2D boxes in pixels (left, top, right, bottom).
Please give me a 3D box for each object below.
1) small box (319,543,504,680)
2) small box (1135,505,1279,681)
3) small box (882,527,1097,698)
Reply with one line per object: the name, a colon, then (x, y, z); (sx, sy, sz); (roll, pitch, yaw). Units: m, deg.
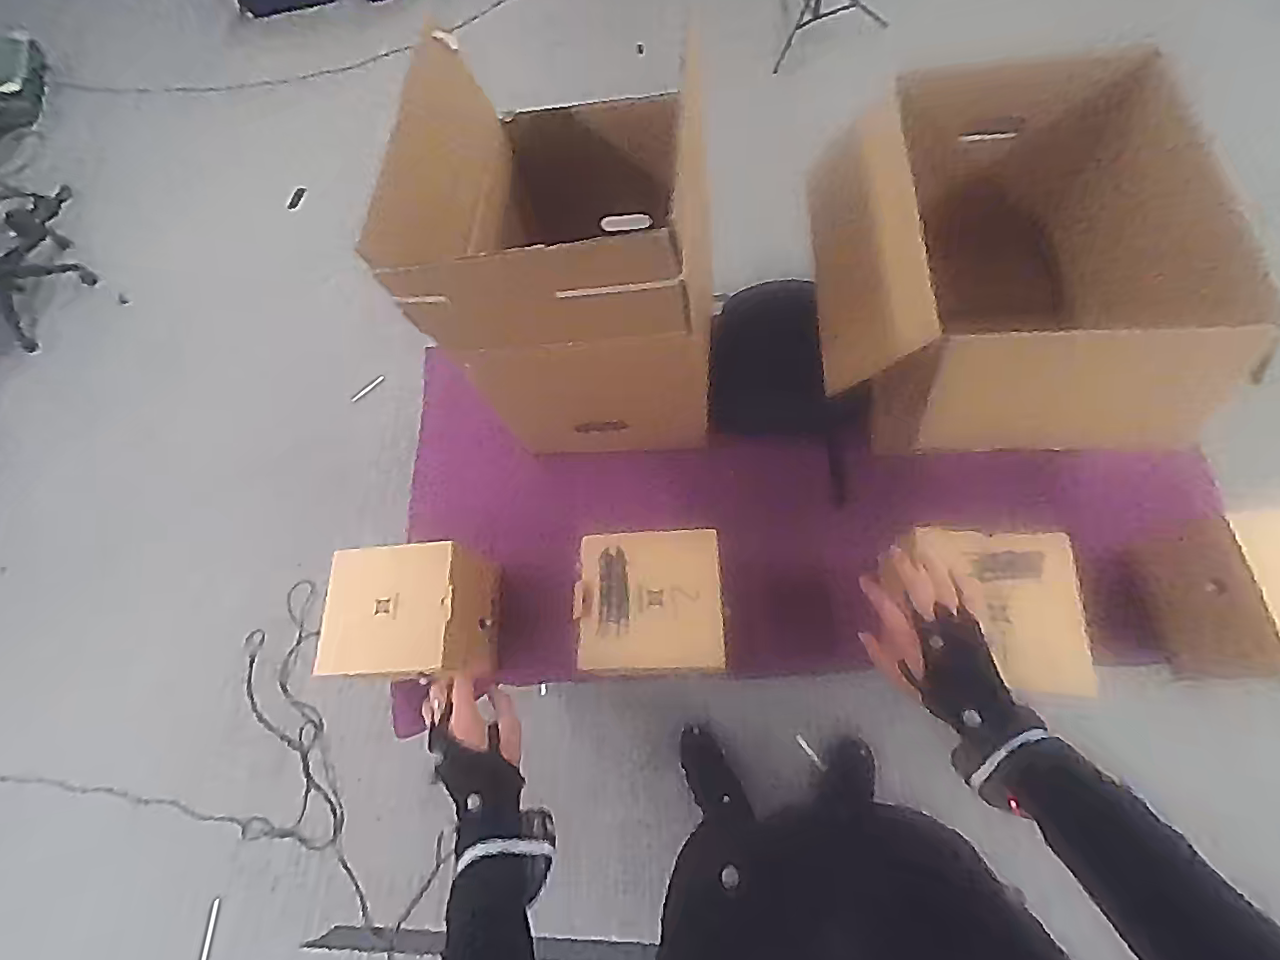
small box: (-0.314, 0.196, 0.779); (0.179, 0.176, 0.168); (-5, 68, 6)
small box: (0.737, 0.135, 0.625); (0.168, 0.176, 0.179); (-5, 68, 9)
small box: (0.409, 0.167, 0.669); (0.168, 0.176, 0.179); (2, 71, 10)
